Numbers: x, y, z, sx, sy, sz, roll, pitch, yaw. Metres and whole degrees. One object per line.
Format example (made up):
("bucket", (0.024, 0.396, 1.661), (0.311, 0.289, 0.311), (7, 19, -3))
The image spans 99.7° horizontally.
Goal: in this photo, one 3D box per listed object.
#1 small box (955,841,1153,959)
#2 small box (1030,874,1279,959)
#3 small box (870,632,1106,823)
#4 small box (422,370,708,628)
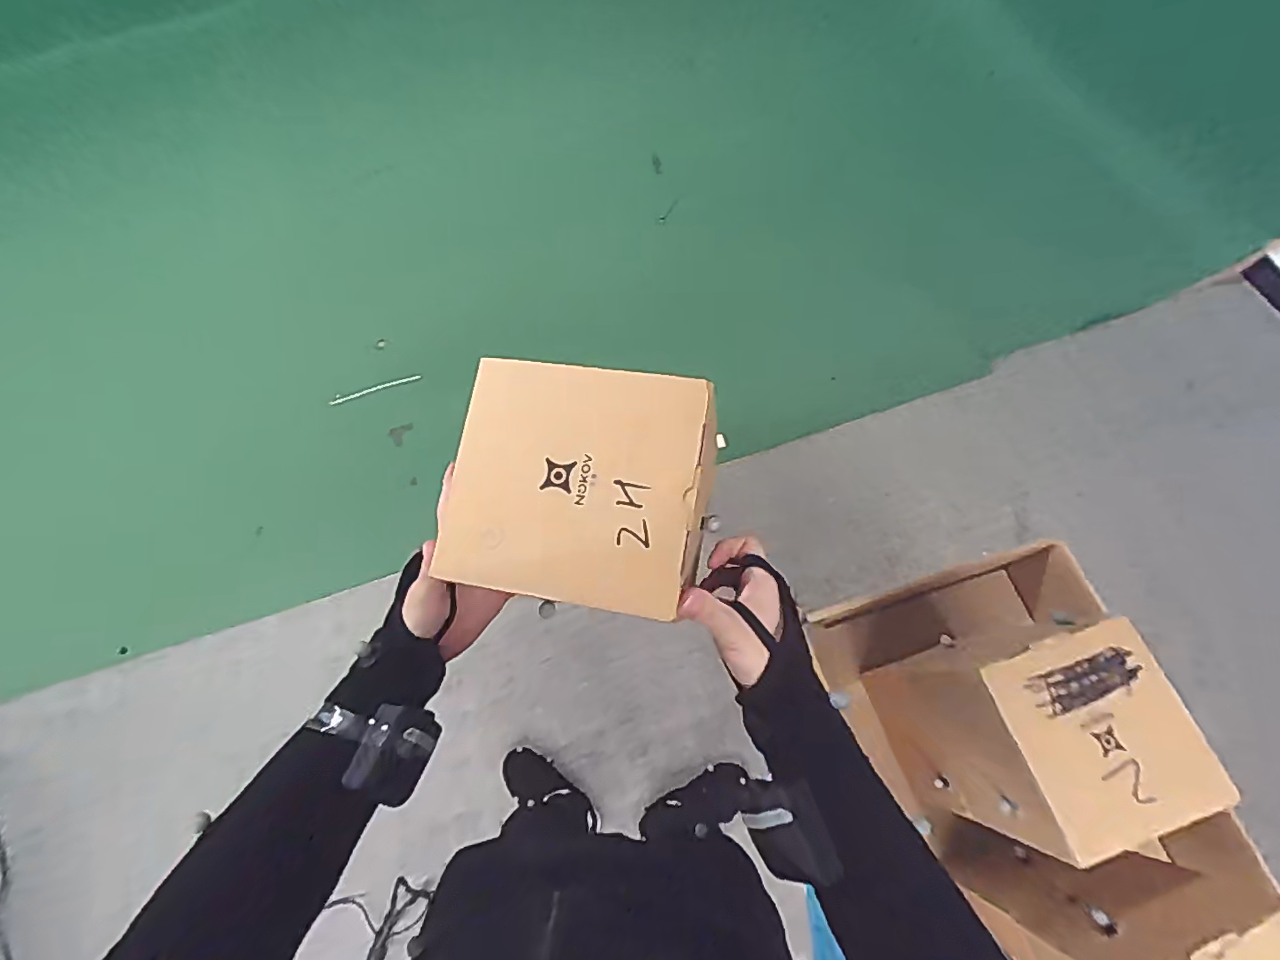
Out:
("small box", (0.512, 0.548, 0.626), (0.168, 0.176, 0.179), (-21, 67, -5))
("small box", (0.503, 0.483, 0.475), (0.168, 0.176, 0.179), (-22, 68, -5))
("small box", (0.440, 0.320, 0.724), (0.168, 0.176, 0.179), (-18, 70, -4))
("small box", (-0.043, 0.023, 0.453), (0.179, 0.176, 0.168), (7, 80, 11))
